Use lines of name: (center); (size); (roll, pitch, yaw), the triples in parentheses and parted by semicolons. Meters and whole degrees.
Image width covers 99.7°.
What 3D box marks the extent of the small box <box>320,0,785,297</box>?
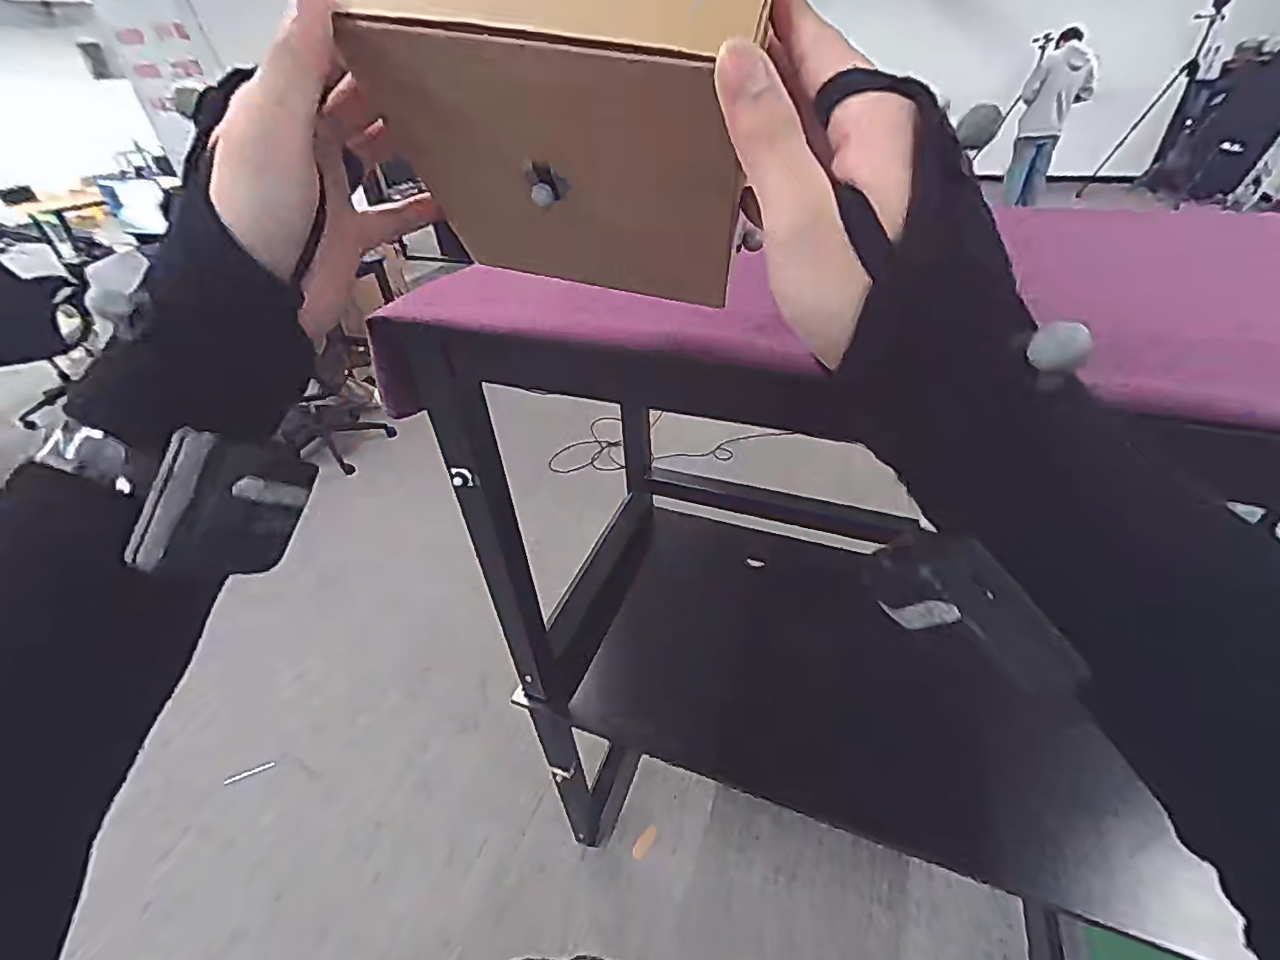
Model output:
small box: (-0.019, -0.224, 0.298); (0.179, 0.176, 0.168); (13, 79, 9)
